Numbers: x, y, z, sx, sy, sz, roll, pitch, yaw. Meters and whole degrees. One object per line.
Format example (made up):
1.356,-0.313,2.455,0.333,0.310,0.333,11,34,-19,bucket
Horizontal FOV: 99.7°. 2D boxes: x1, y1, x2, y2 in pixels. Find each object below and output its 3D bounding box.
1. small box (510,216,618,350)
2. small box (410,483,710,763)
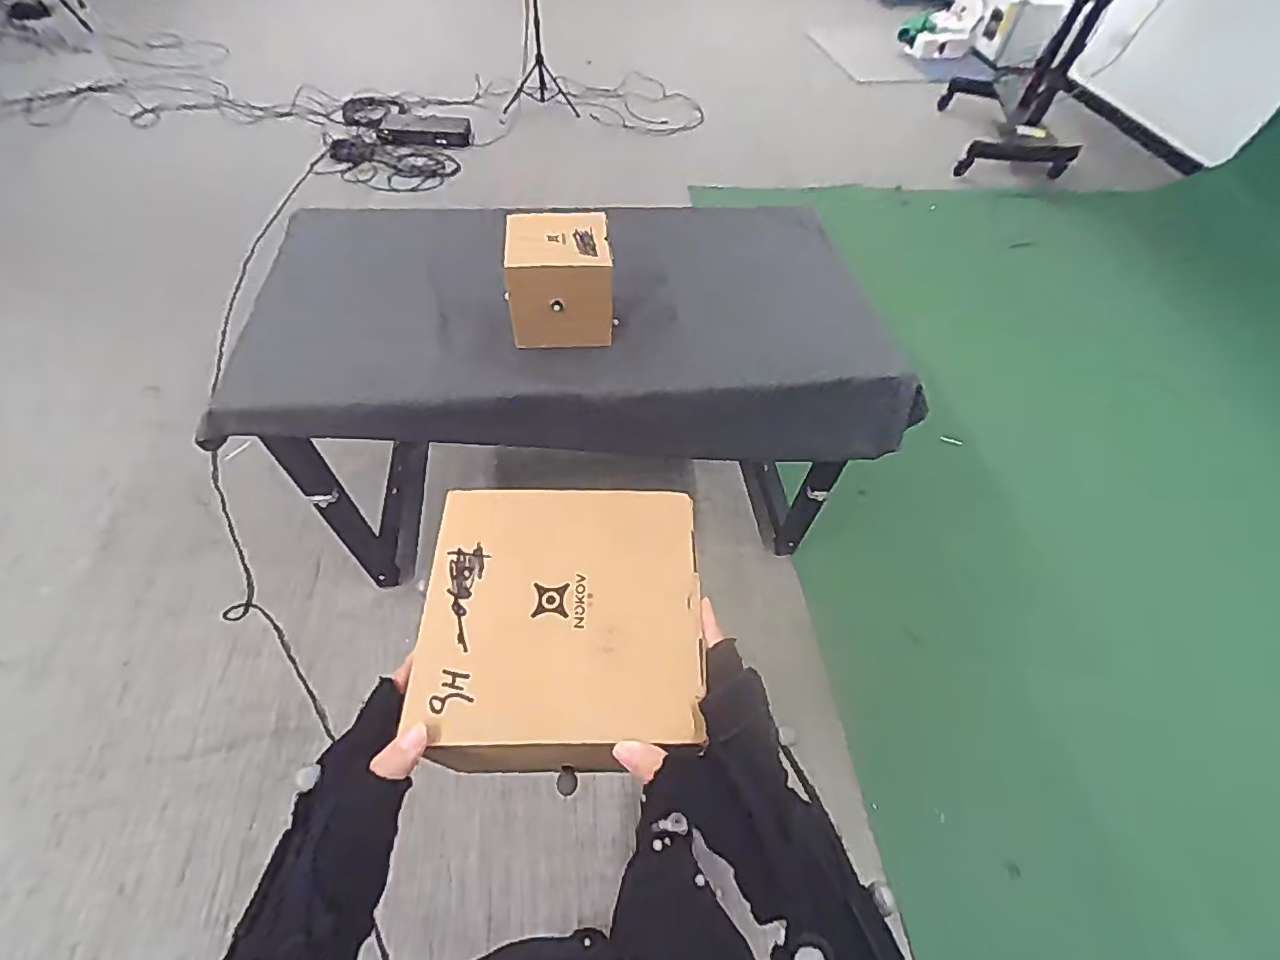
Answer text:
-0.140,-0.354,0.982,0.179,0.176,0.168,-5,55,-9,small box
-0.052,0.118,0.422,0.179,0.176,0.168,2,56,-4,small box
